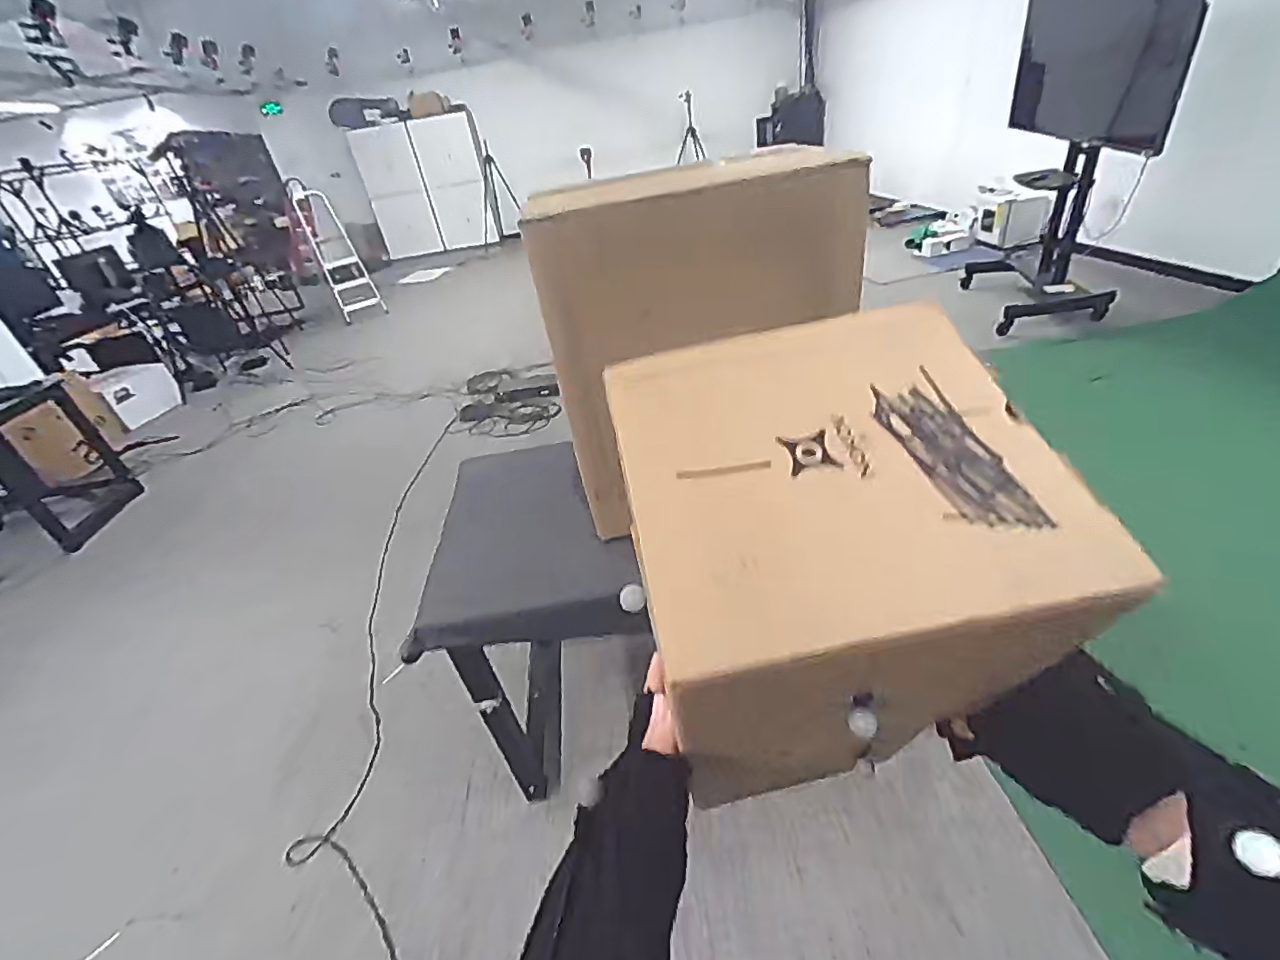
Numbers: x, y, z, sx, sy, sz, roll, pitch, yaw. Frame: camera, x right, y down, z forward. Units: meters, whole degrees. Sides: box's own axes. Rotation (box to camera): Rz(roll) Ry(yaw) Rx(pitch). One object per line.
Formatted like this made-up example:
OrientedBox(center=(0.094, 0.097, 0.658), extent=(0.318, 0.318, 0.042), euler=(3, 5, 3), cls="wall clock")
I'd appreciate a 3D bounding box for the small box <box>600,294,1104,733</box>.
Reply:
OrientedBox(center=(0.084, 0.028, 0.308), extent=(0.179, 0.176, 0.168), euler=(-12, 53, 1), cls="small box")
